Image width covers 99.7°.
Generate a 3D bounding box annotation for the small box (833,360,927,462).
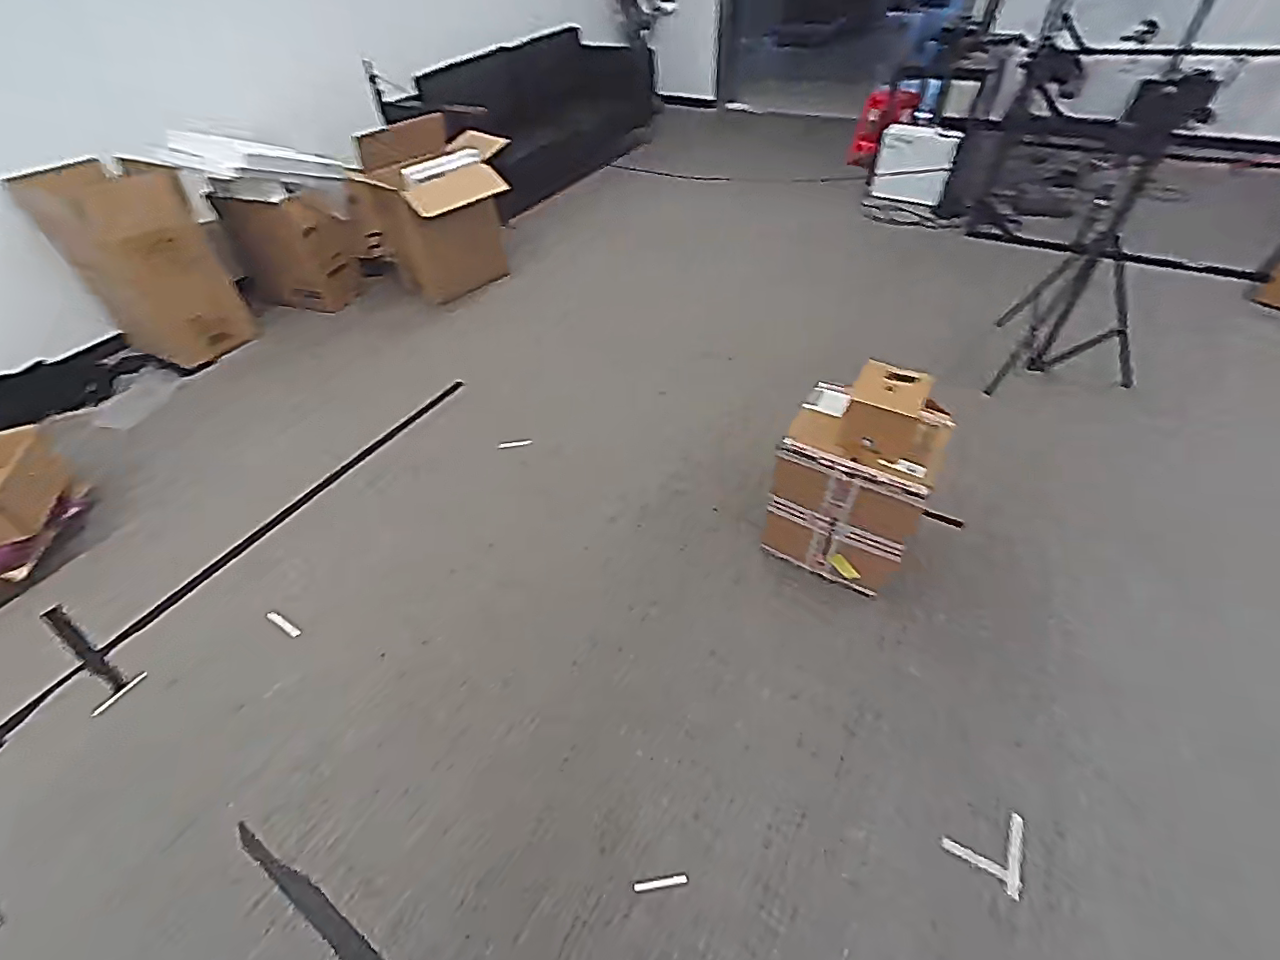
[{"bbox_3d":[0.624,-0.180,1.419,0.168,0.176,0.179,22,55,23],"label":"small box"}]
